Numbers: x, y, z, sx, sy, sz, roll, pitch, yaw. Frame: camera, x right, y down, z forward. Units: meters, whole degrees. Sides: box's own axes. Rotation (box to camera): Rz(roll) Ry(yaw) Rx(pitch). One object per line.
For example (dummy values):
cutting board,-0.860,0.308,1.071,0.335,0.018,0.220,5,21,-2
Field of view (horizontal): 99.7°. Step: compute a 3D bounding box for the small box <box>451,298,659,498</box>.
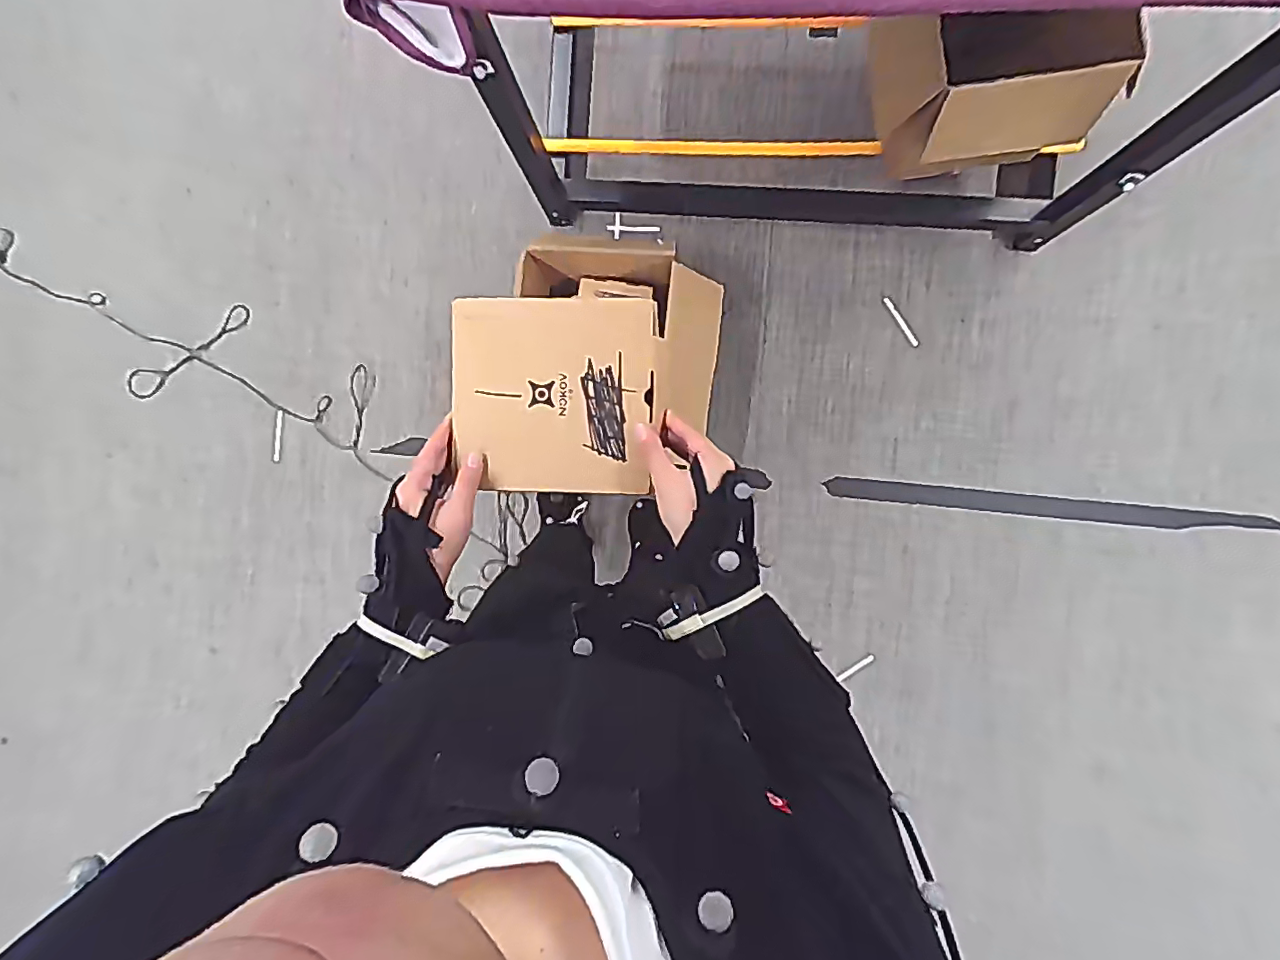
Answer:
small box,-0.071,-0.074,0.538,0.179,0.176,0.168,2,93,3
